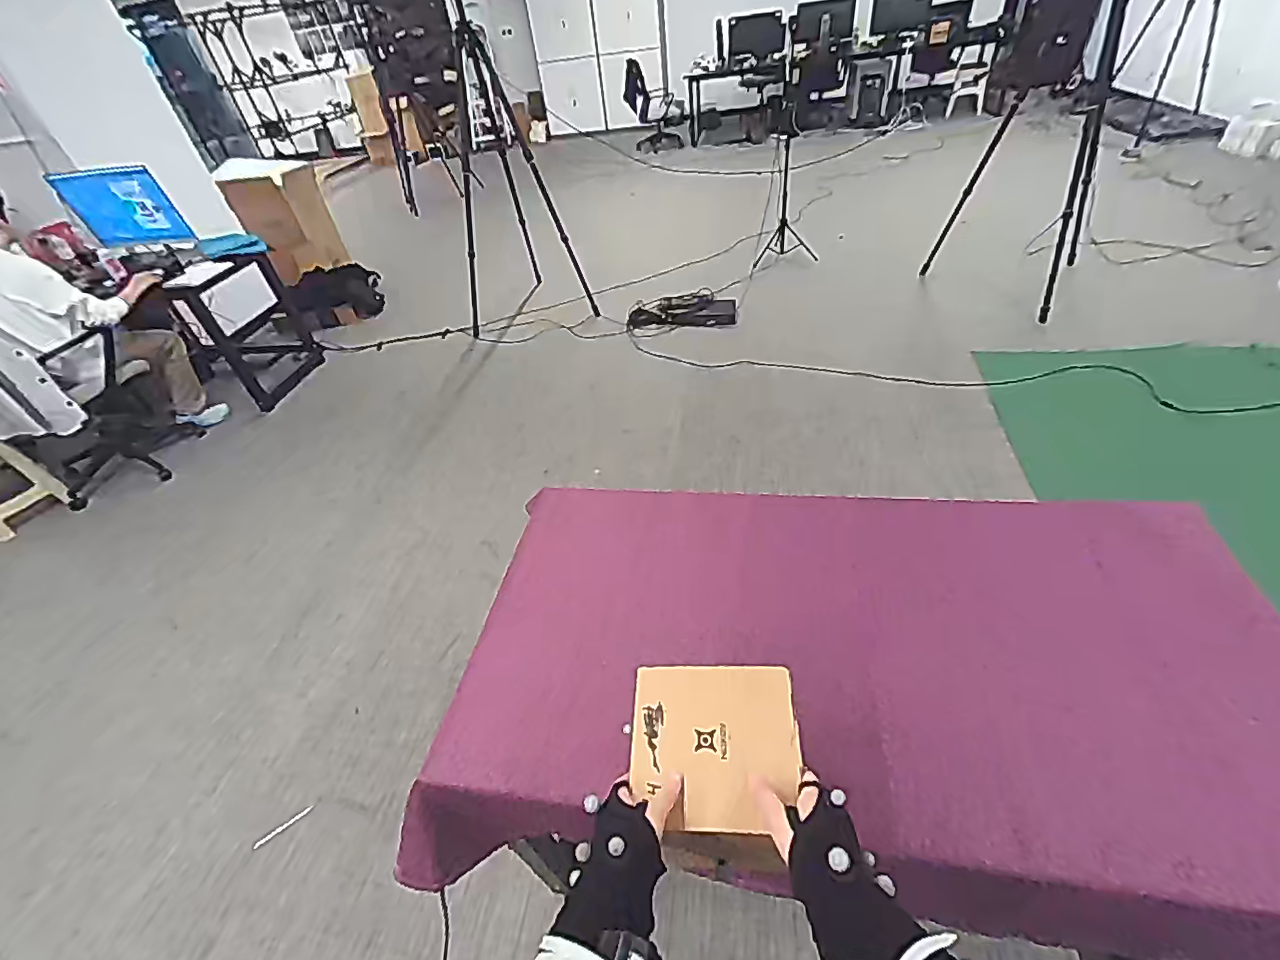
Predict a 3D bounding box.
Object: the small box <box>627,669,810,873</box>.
[{"bbox_3d":[0.087,0.335,0.623,0.179,0.176,0.168,-2,44,8],"label":"small box"}]
